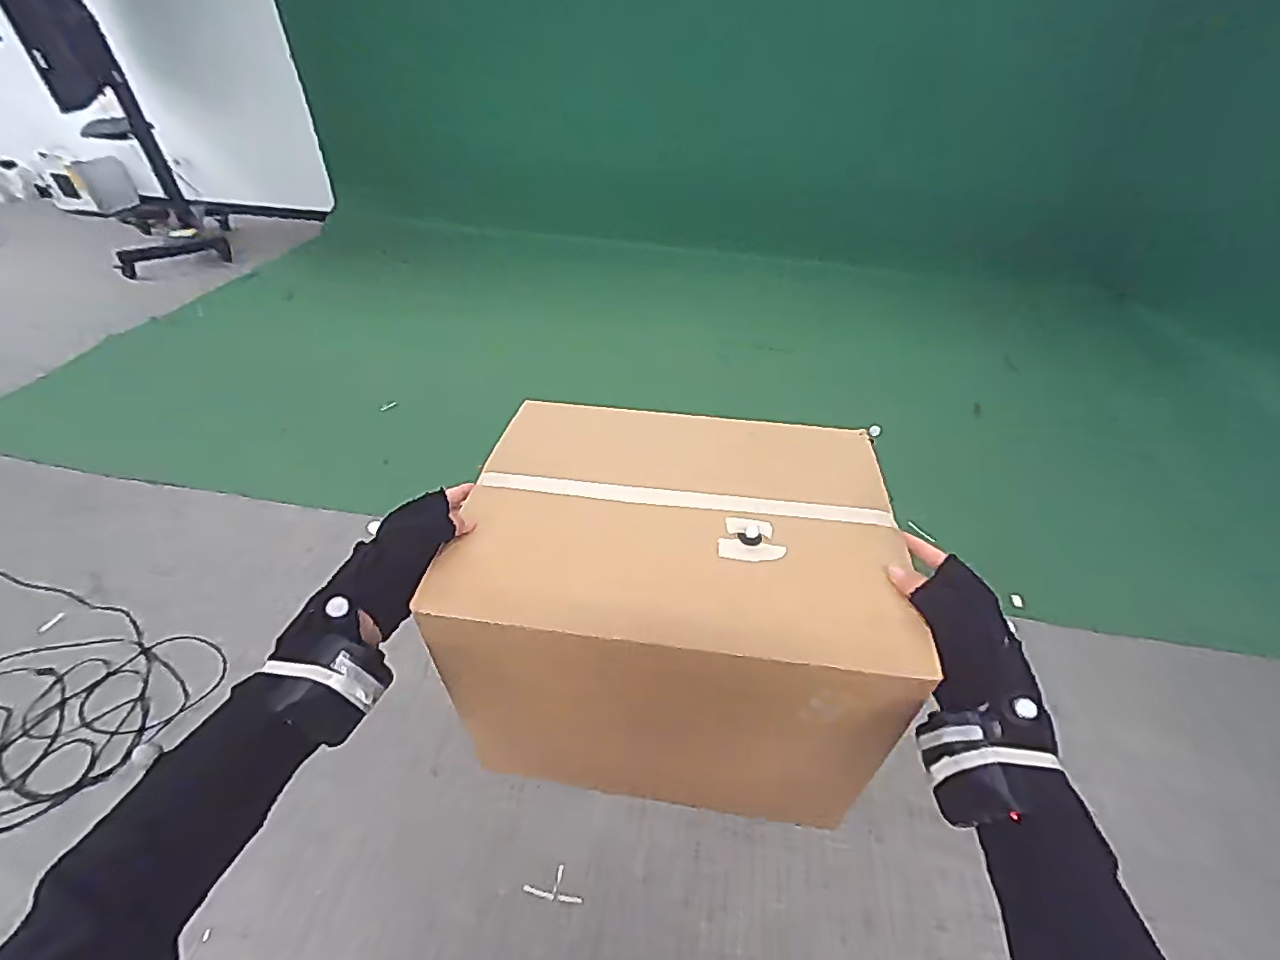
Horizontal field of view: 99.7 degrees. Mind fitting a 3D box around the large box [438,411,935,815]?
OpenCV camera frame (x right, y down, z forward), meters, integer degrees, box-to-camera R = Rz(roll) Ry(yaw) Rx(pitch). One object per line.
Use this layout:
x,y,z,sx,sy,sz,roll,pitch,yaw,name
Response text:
0.042,0.144,0.631,0.408,0.320,0.320,6,41,5,large box
